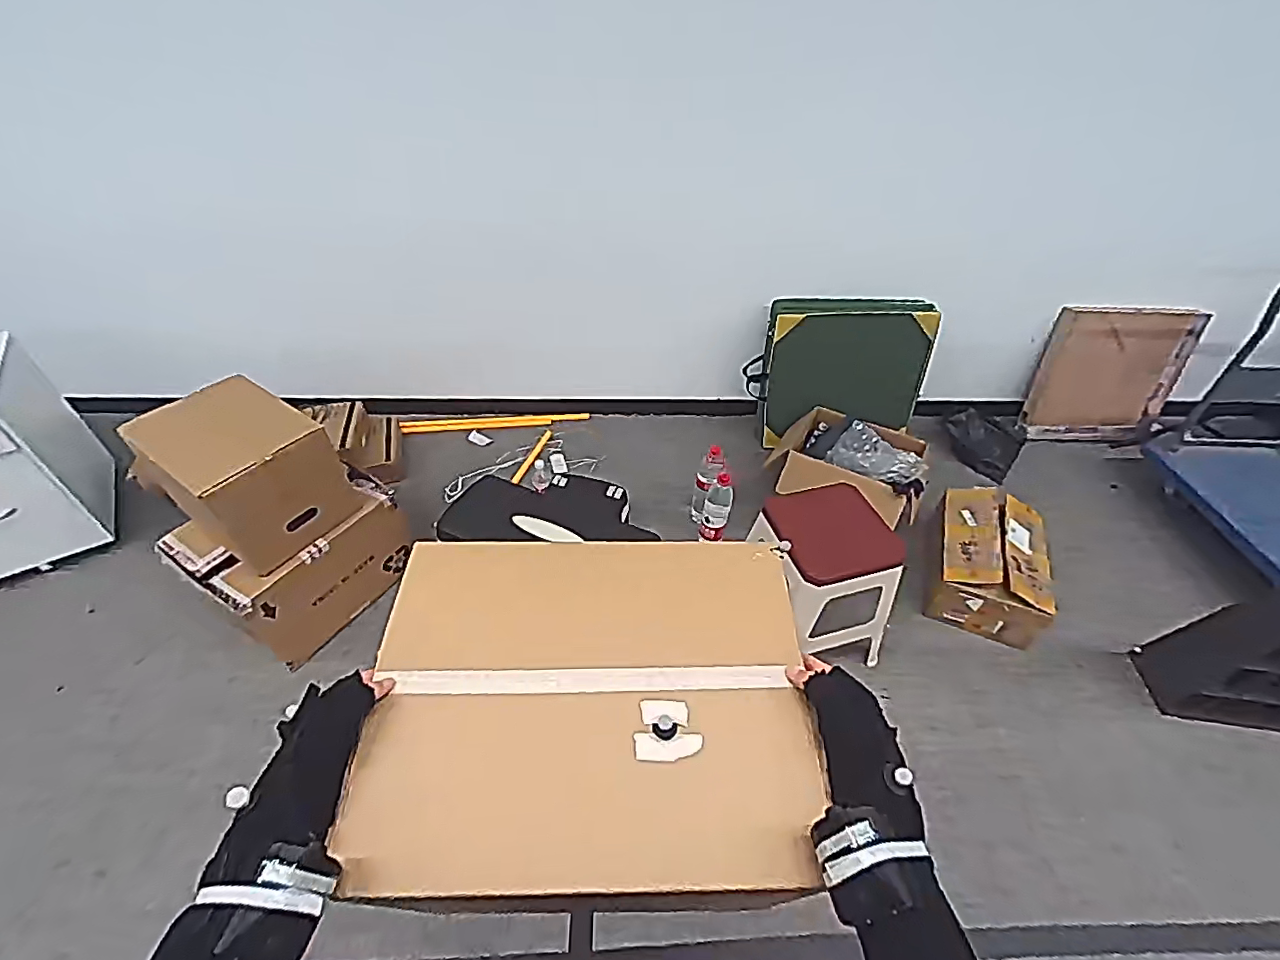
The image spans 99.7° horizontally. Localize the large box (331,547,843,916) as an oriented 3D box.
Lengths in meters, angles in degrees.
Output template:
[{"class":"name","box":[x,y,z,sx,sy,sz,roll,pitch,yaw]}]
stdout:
[{"class":"large box","box":[-0.047,0.290,0.622,0.408,0.320,0.320,1,49,-2]}]
